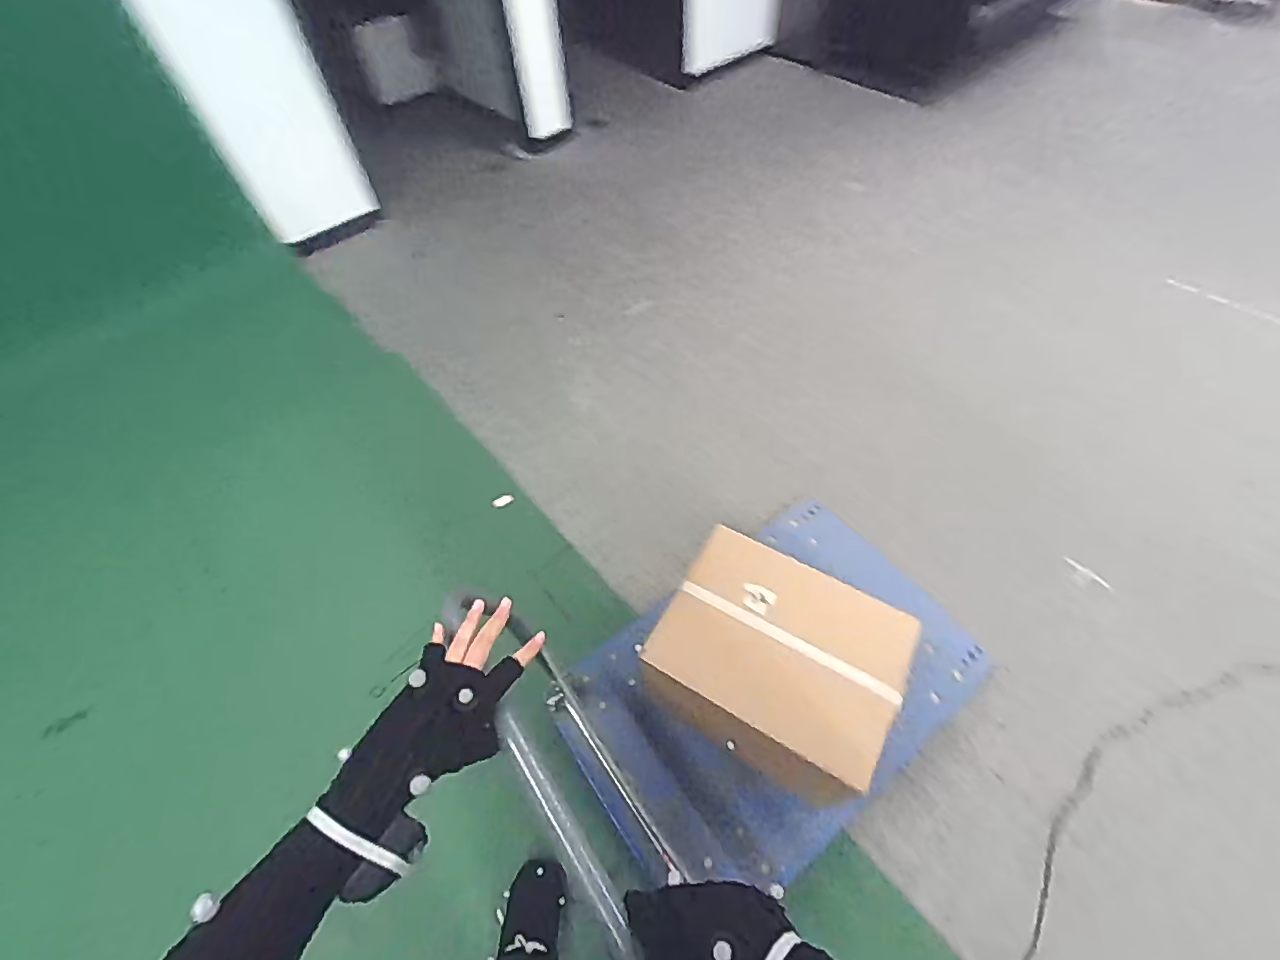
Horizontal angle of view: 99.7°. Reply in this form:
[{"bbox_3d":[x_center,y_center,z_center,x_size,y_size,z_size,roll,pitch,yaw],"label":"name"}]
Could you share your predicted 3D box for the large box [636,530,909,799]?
[{"bbox_3d":[0.248,0.368,1.079,0.408,0.320,0.320,24,59,20],"label":"large box"}]
